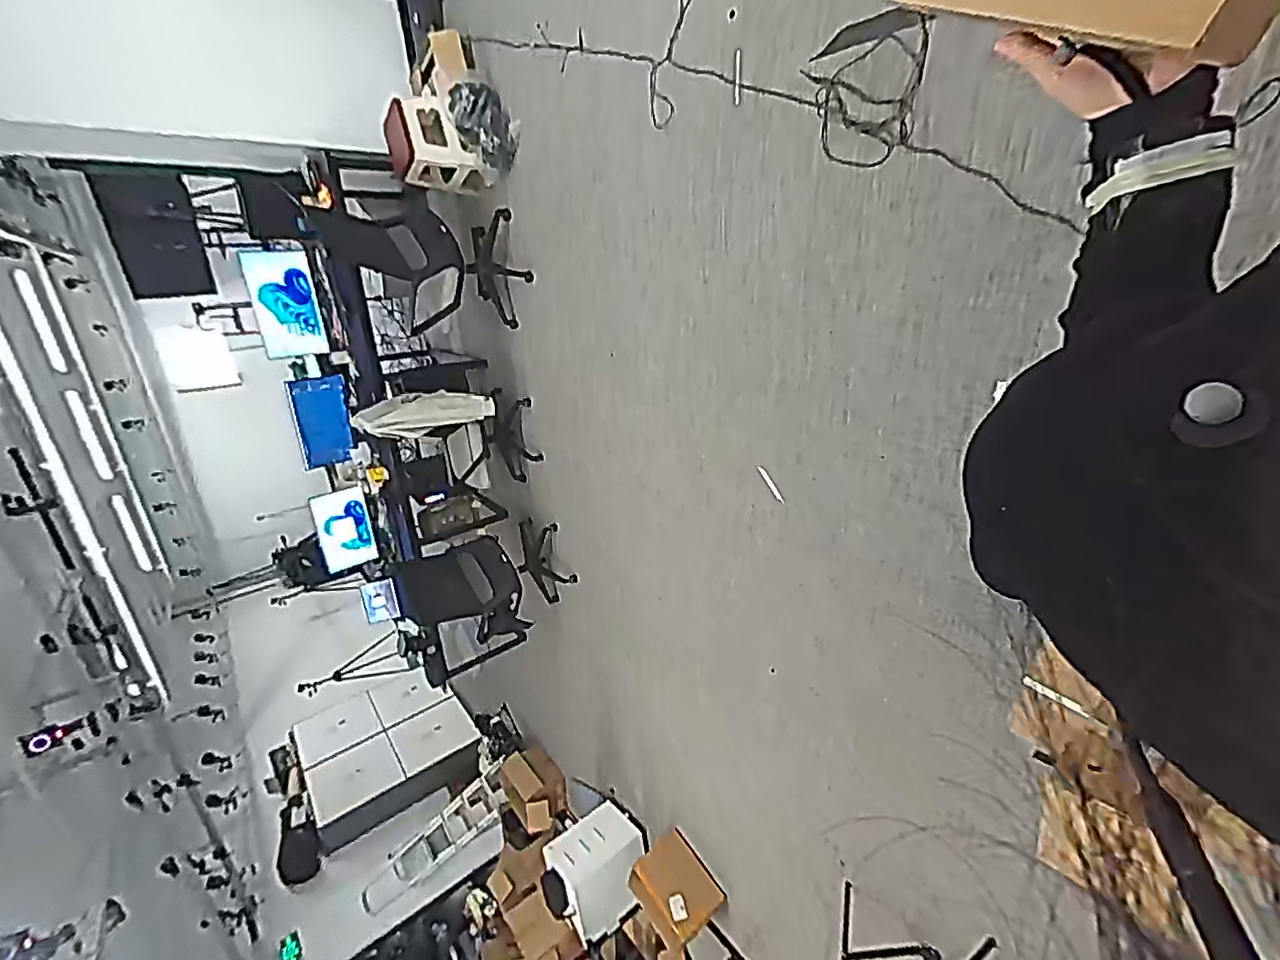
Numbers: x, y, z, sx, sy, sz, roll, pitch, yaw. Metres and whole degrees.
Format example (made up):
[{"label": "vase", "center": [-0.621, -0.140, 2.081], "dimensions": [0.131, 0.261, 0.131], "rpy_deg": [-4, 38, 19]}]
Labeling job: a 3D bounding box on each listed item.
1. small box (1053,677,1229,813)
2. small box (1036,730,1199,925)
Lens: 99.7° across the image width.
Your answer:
[{"label": "small box", "center": [0.913, 0.499, 0.988], "dimensions": [0.179, 0.176, 0.168], "rpy_deg": [33, 129, 43]}, {"label": "small box", "center": [0.791, 0.557, 0.897], "dimensions": [0.168, 0.176, 0.179], "rpy_deg": [14, 117, 51]}]
